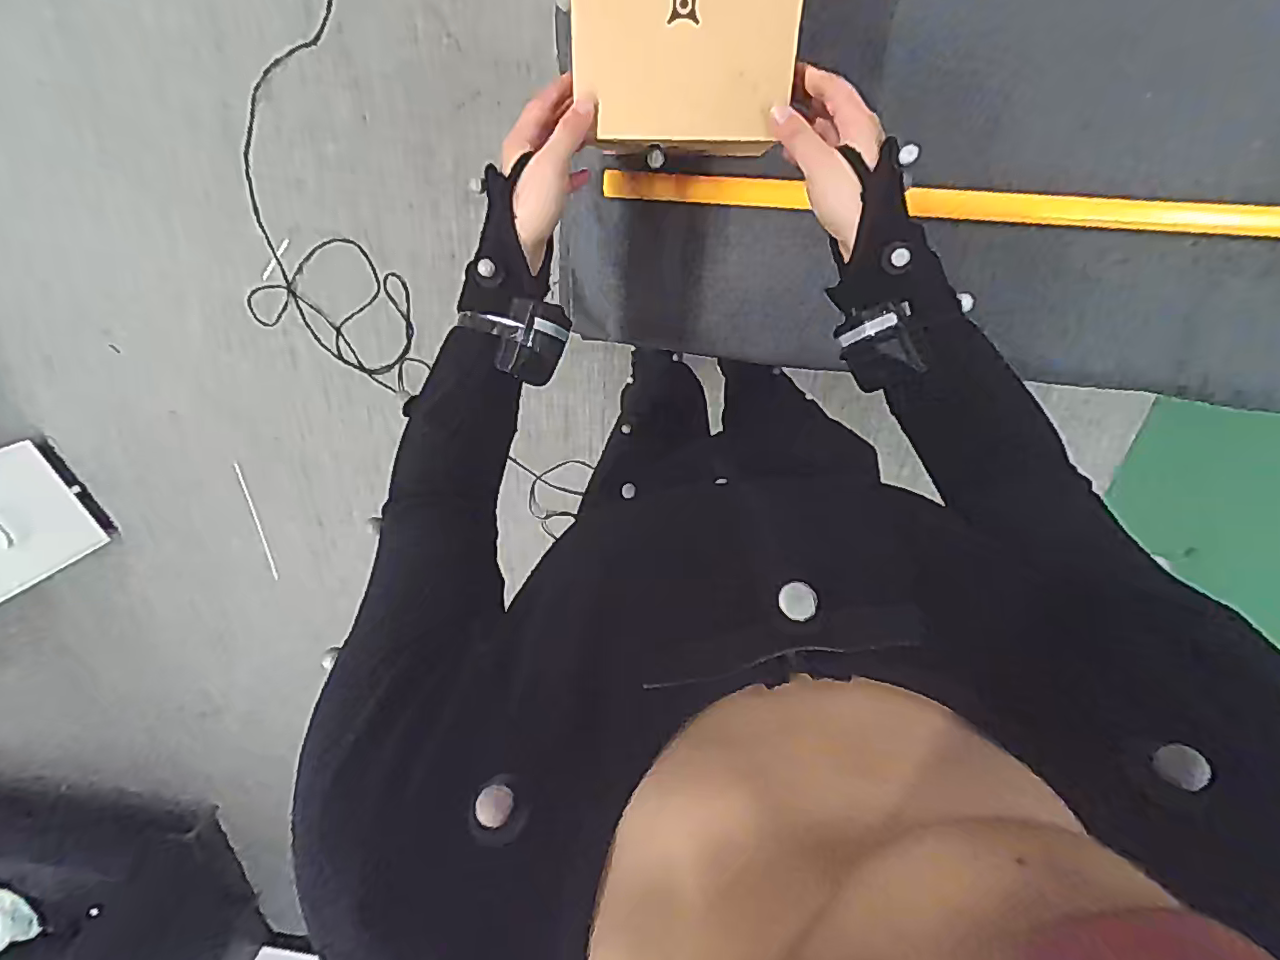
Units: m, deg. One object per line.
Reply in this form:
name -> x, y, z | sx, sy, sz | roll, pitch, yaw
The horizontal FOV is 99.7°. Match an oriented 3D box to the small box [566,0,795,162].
small box -> 0.036, -0.372, 0.453 | 0.168, 0.176, 0.179 | 3, 117, 5
